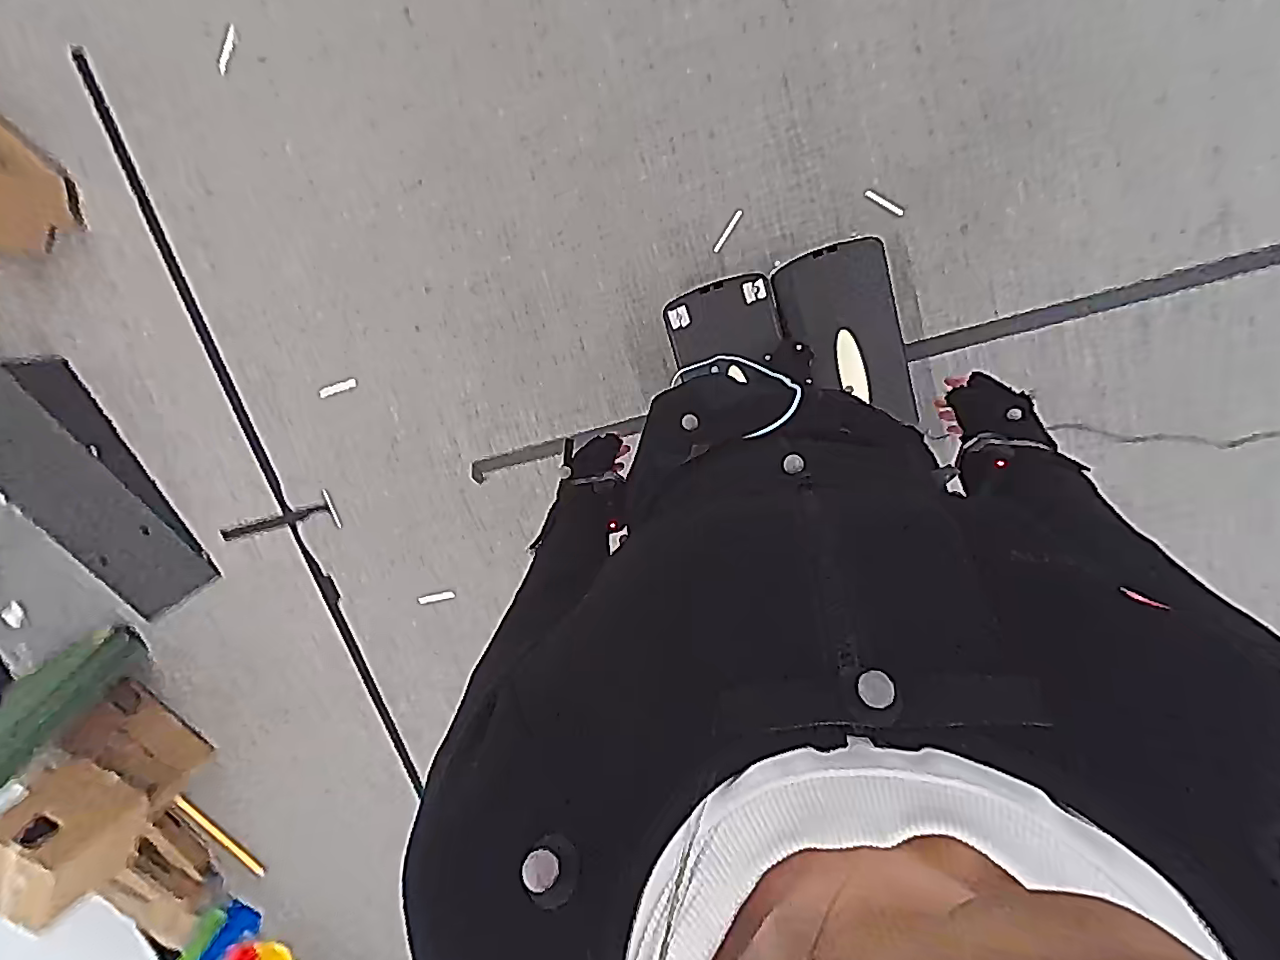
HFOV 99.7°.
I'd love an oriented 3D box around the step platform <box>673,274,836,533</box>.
[{"bbox_3d":[0.318,-0.196,1.487,0.286,0.204,0.684,-16,100,14],"label":"step platform"}]
